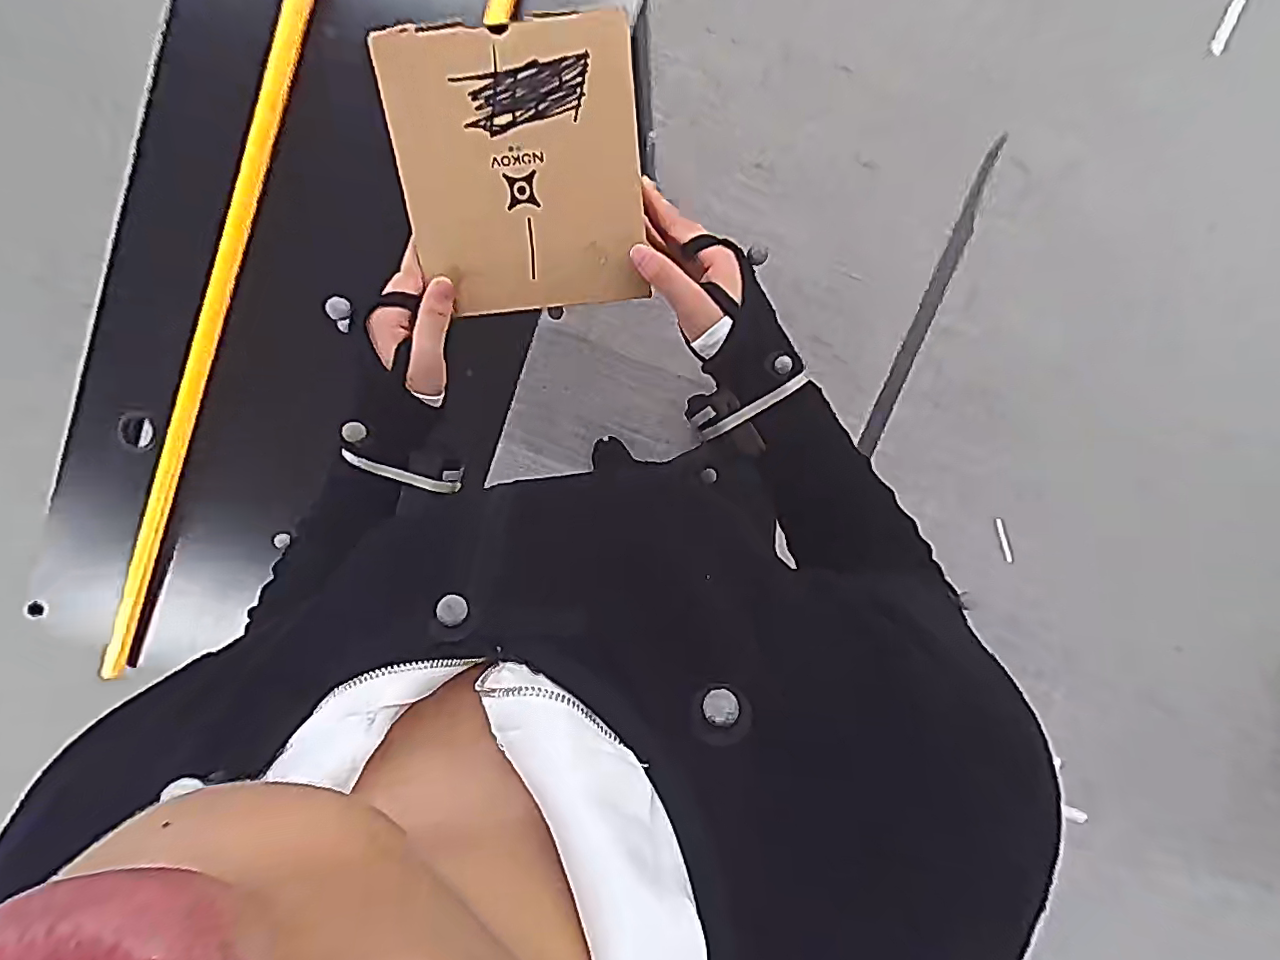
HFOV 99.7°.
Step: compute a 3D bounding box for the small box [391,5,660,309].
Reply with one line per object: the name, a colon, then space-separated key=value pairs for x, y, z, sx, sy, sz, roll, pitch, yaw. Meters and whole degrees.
small box: x=-0.073 y=-0.241 z=0.444 sx=0.168 sy=0.176 sz=0.179 roll=-4 pitch=112 yaw=1
